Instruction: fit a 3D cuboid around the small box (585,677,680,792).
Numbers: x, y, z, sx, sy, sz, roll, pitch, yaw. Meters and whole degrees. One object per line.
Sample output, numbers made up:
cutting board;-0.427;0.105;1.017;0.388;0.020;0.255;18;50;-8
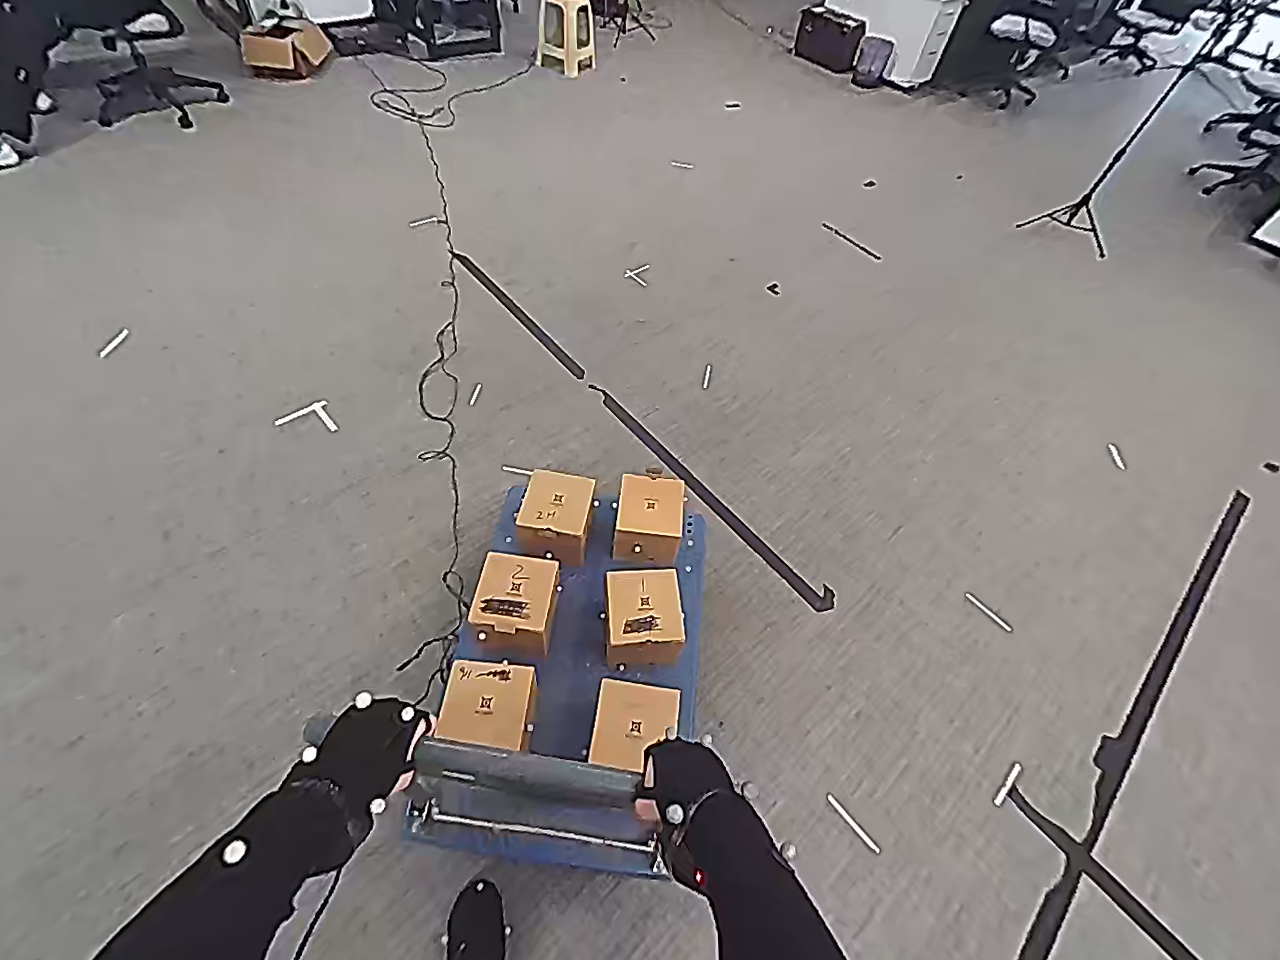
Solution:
small box;-0.018;0.537;1.129;0.168;0.176;0.179;11;53;0

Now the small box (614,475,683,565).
small box;0.021;0.111;1.444;0.168;0.176;0.179;7;53;-2

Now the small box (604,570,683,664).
small box;0.002;0.329;1.281;0.168;0.176;0.179;0;53;-7

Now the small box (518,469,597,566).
small box;-0.213;0.101;1.419;0.168;0.176;0.179;11;54;1

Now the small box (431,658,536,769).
small box;-0.312;0.490;1.122;0.168;0.176;0.179;7;54;-3
